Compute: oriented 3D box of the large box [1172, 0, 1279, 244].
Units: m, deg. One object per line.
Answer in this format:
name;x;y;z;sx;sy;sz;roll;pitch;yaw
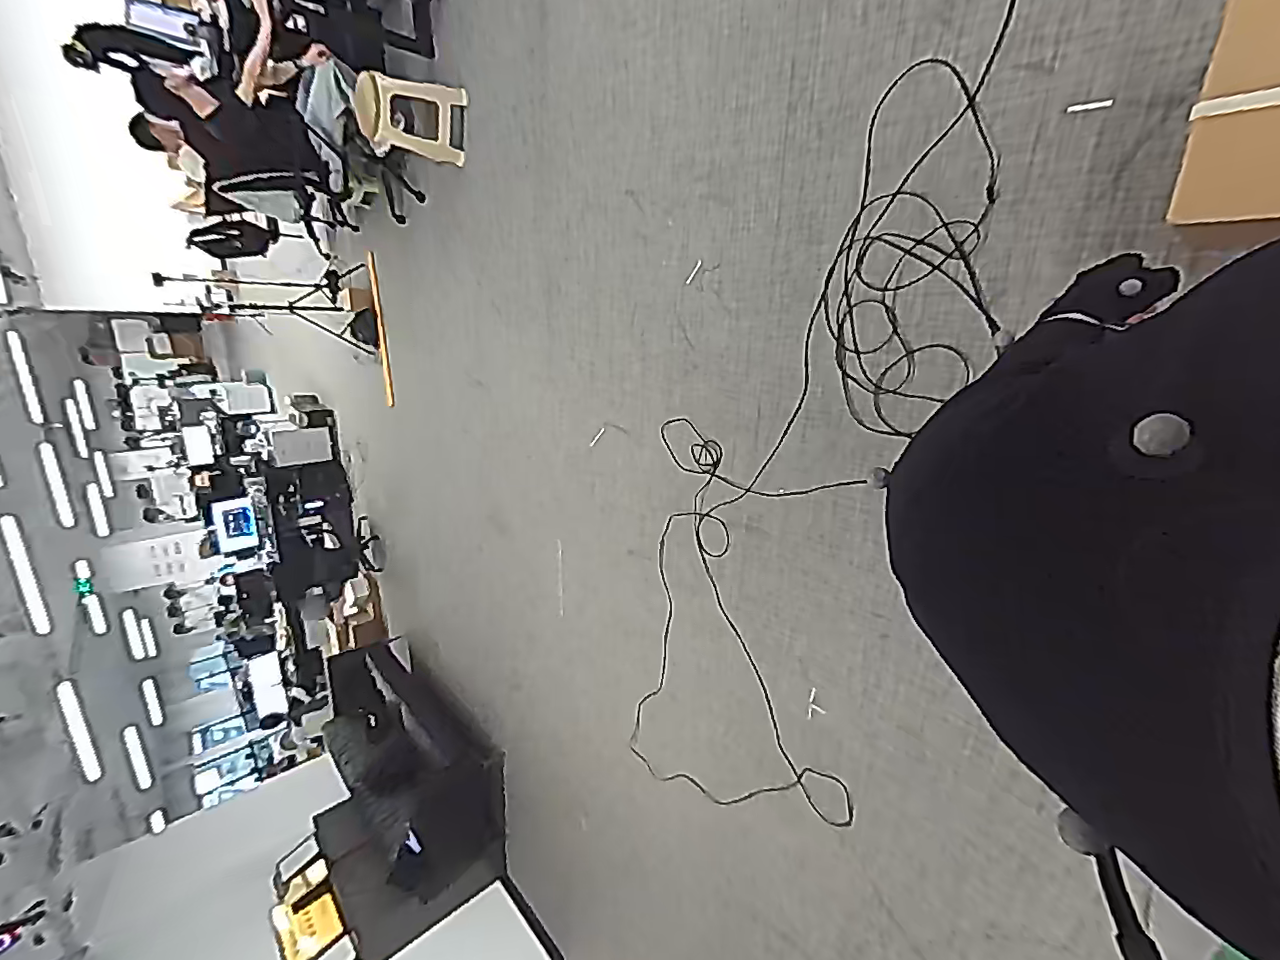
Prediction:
large box;1.069;-0.531;0.759;0.408;0.320;0.320;18;113;44
